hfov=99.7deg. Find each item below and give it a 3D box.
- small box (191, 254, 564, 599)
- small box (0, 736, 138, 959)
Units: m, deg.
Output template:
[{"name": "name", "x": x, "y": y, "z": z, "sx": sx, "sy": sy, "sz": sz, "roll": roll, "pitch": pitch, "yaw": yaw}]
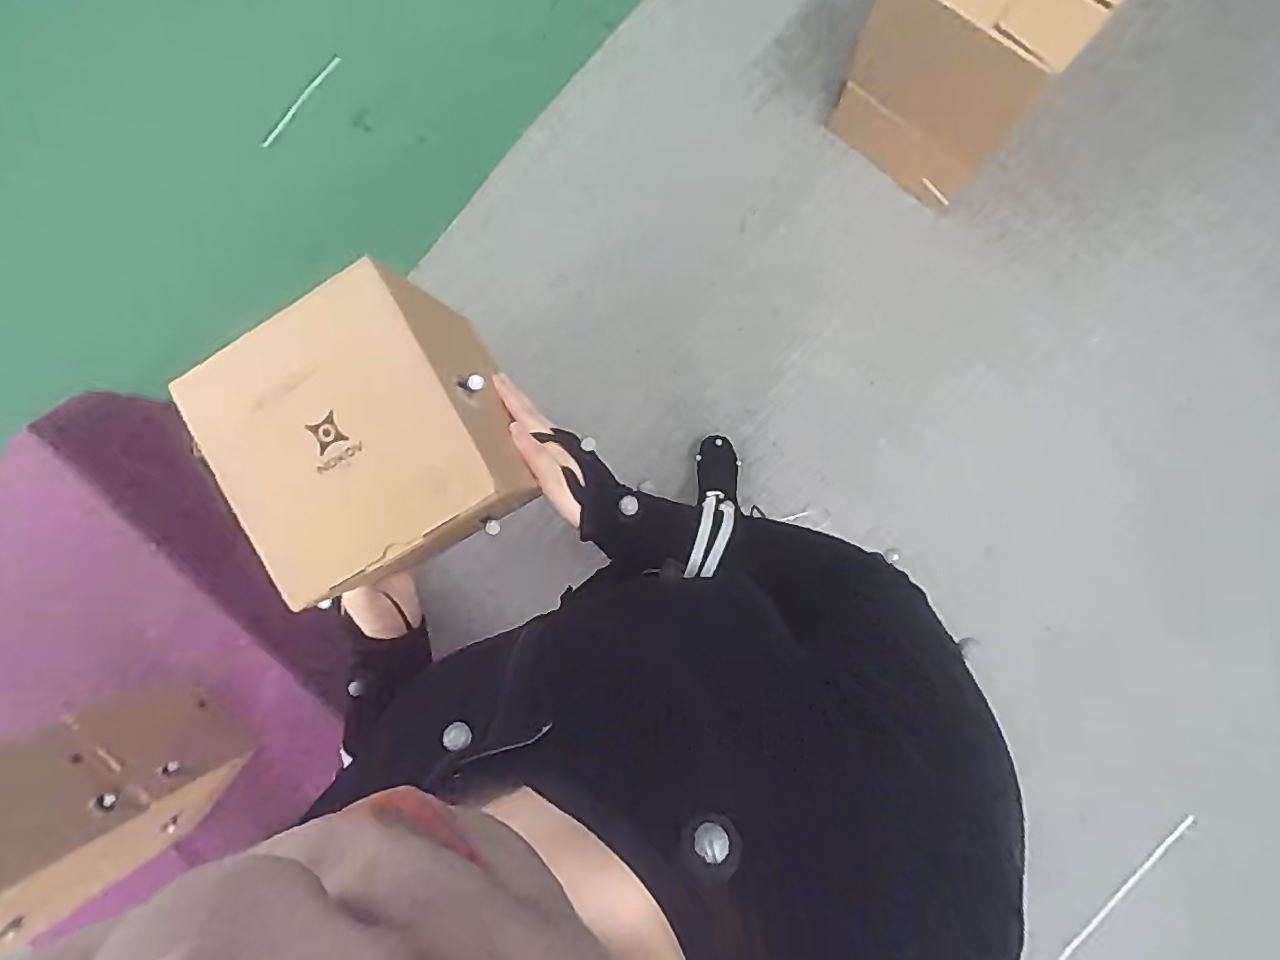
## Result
[{"name": "small box", "x": -0.180, "y": -0.036, "z": 0.428, "sx": 0.168, "sy": 0.176, "sz": 0.179, "roll": -28, "pitch": 89, "yaw": 5}, {"name": "small box", "x": -0.715, "y": 0.422, "z": 0.589, "sx": 0.168, "sy": 0.176, "sz": 0.179, "roll": 38, "pitch": 93, "yaw": 7}]
